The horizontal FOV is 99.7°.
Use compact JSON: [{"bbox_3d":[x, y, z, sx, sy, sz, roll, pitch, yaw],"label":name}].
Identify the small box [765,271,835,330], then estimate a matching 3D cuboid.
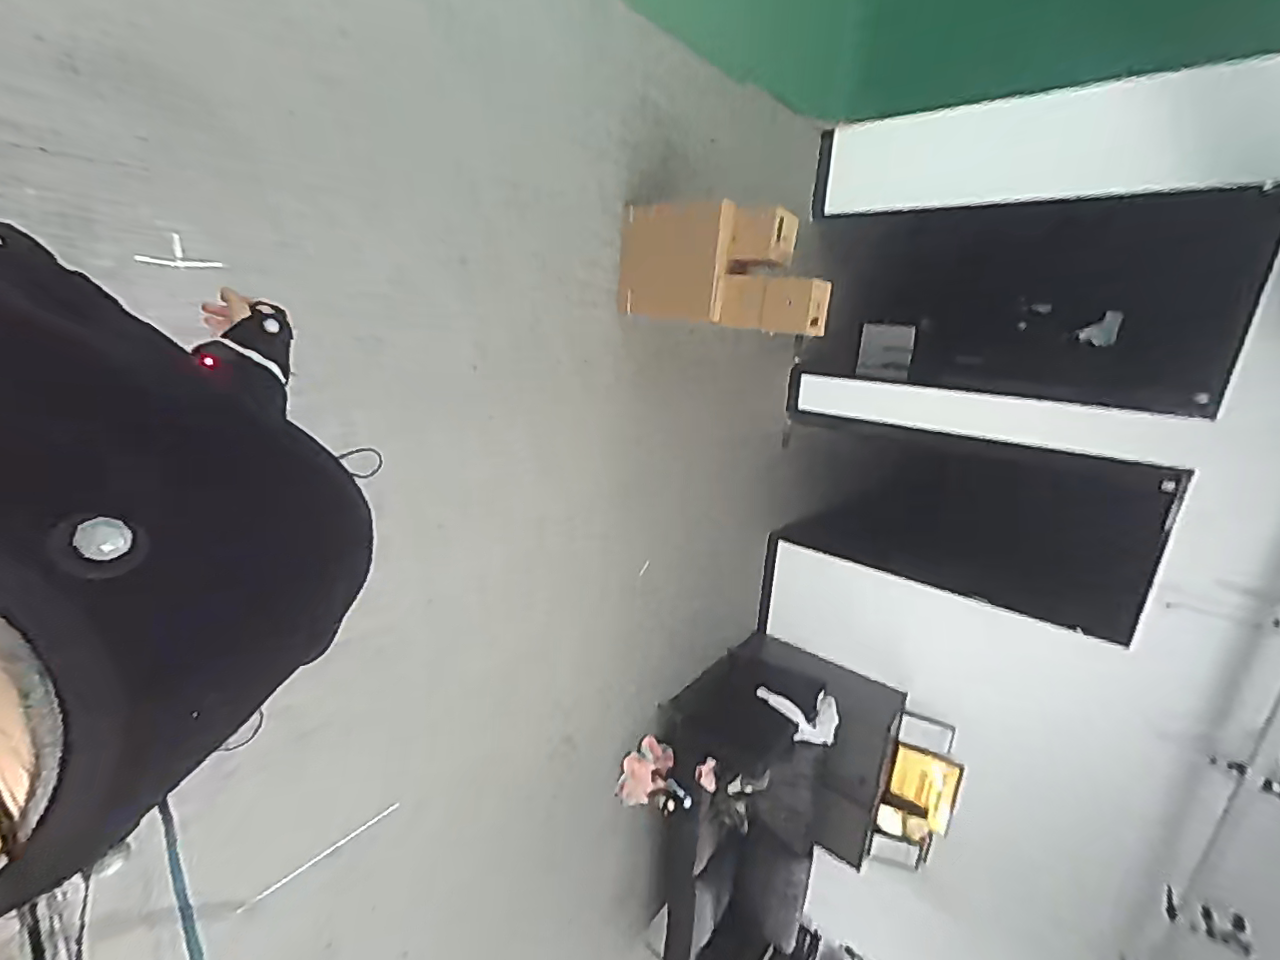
[{"bbox_3d":[0.547,-0.616,1.860,0.168,0.176,0.179,-13,113,-48],"label":"small box"}]
